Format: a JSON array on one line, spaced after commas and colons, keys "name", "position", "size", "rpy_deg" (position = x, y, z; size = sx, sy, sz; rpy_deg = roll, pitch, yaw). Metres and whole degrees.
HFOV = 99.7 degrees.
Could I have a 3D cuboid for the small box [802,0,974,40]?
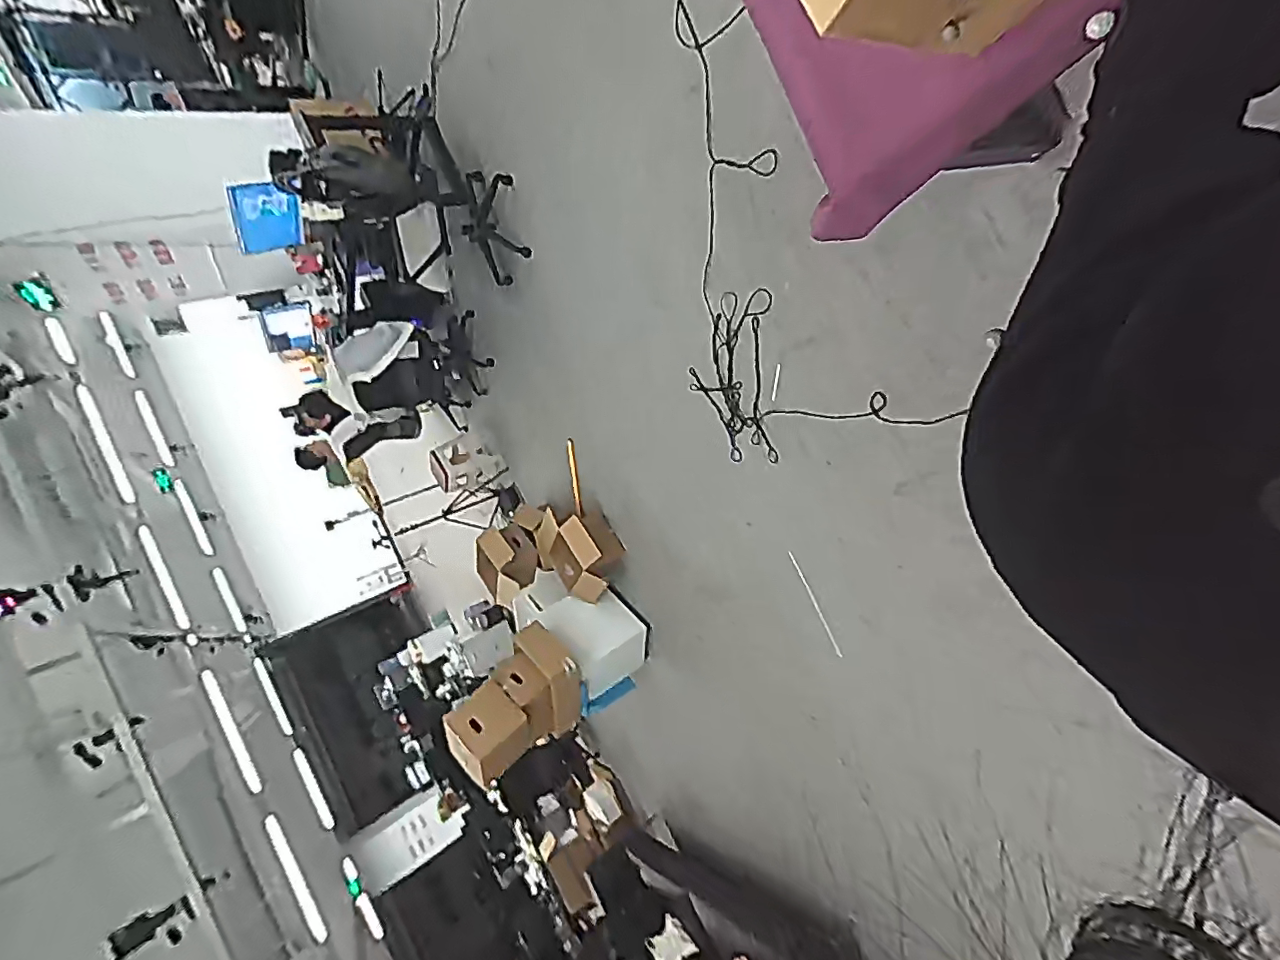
[{"name": "small box", "position": [0.212, -0.489, 0.421], "size": [0.168, 0.176, 0.179], "rpy_deg": [-32, 82, 58]}]
